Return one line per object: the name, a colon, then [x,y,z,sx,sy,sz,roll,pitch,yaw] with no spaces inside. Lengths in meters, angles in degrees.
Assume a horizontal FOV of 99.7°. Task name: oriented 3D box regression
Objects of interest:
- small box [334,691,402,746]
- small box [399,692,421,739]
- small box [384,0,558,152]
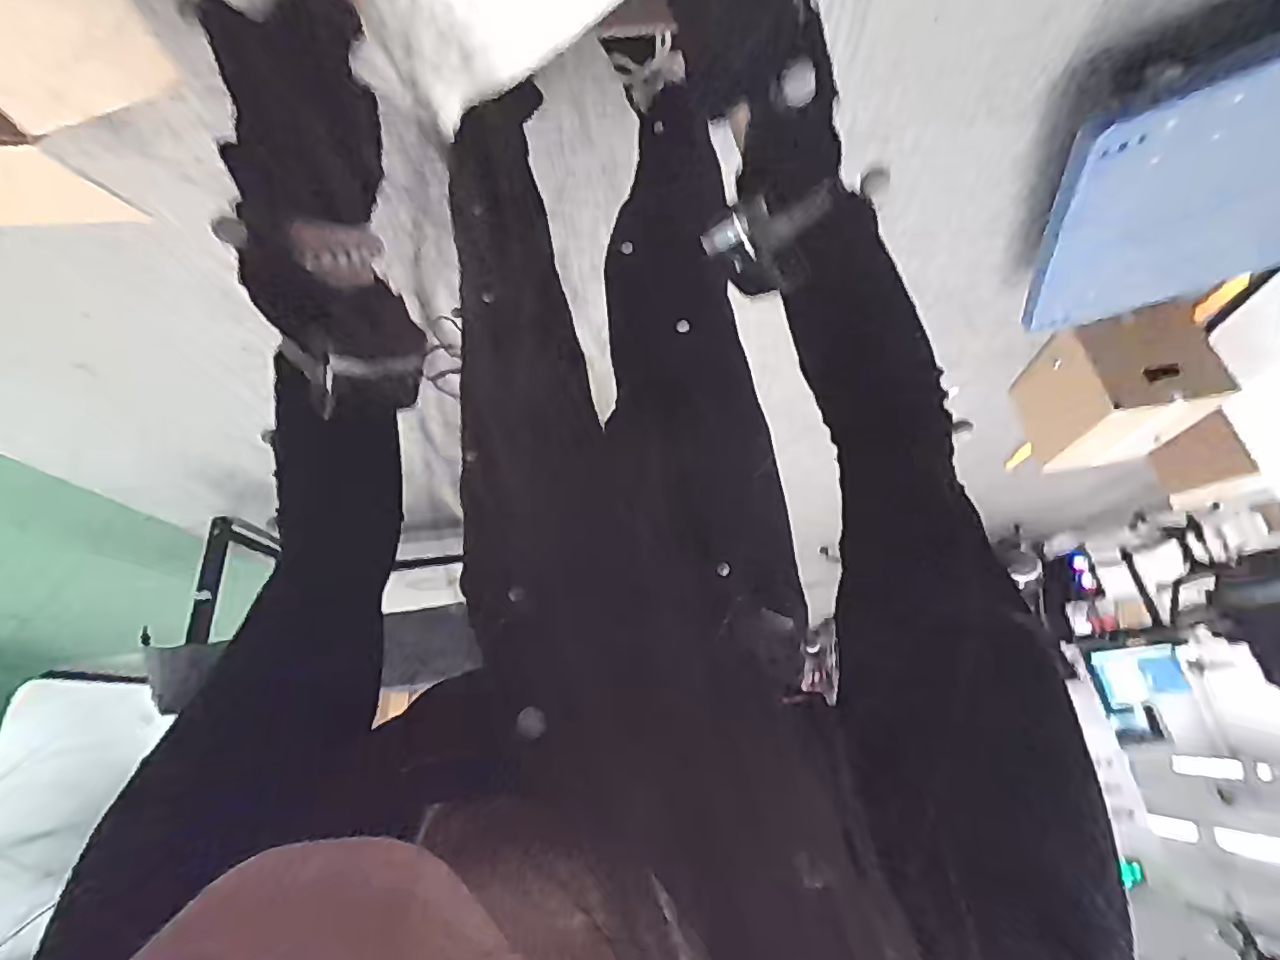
small box: [-0.994,0.875,1.992,0.168,0.176,0.179,-5,156,-4]
small box: [-0.993,0.956,2.180,0.168,0.176,0.179,-5,156,-5]
small box: [-0.229,-0.598,0.729,0.179,0.176,0.168,22,156,-18]
